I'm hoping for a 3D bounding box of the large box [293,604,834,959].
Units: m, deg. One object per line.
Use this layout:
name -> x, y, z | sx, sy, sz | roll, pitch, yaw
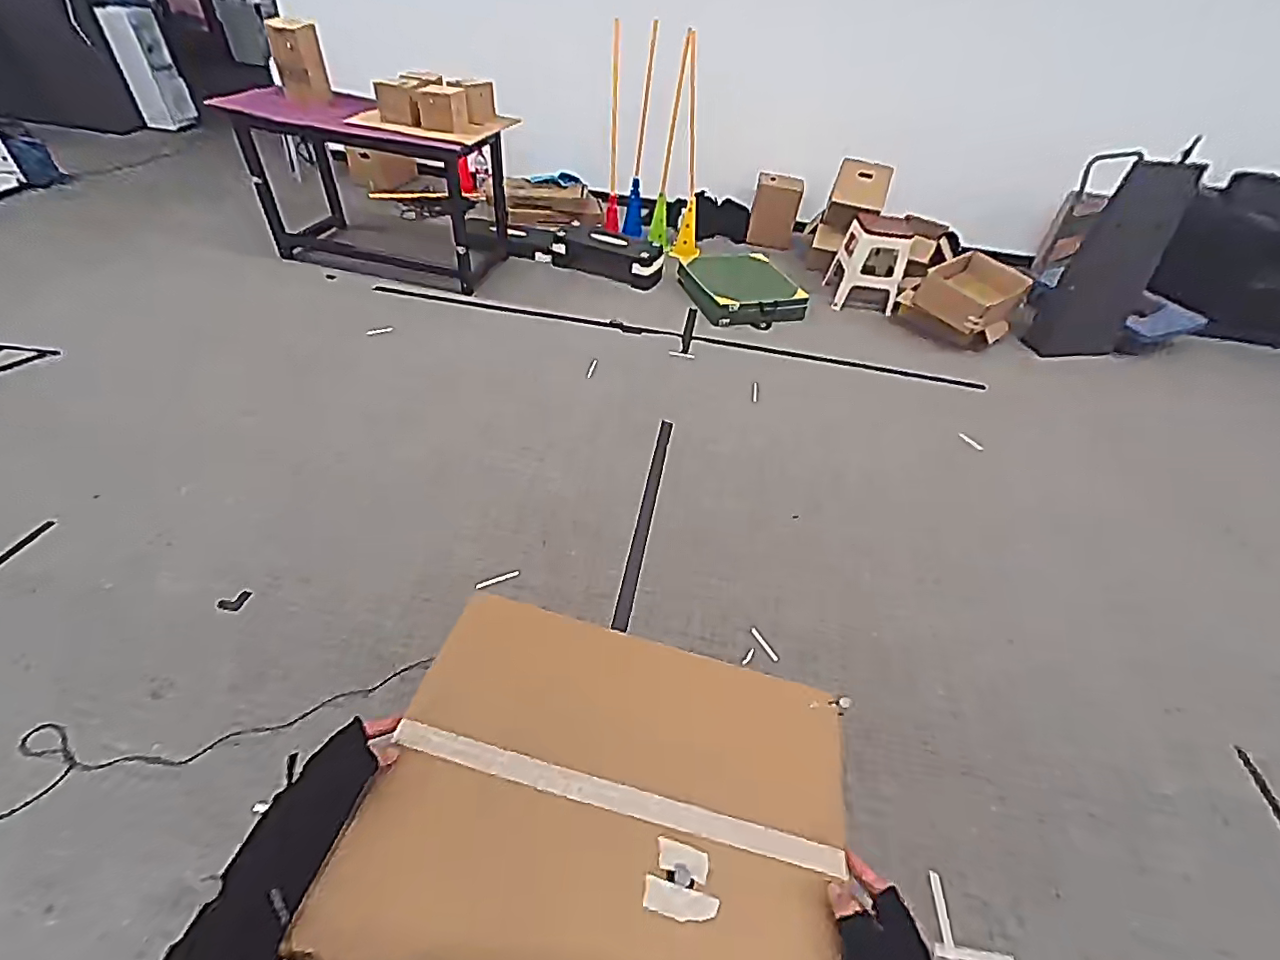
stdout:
large box -> -0.050, 0.390, 0.580 | 0.408, 0.320, 0.320 | 16, 44, 3
